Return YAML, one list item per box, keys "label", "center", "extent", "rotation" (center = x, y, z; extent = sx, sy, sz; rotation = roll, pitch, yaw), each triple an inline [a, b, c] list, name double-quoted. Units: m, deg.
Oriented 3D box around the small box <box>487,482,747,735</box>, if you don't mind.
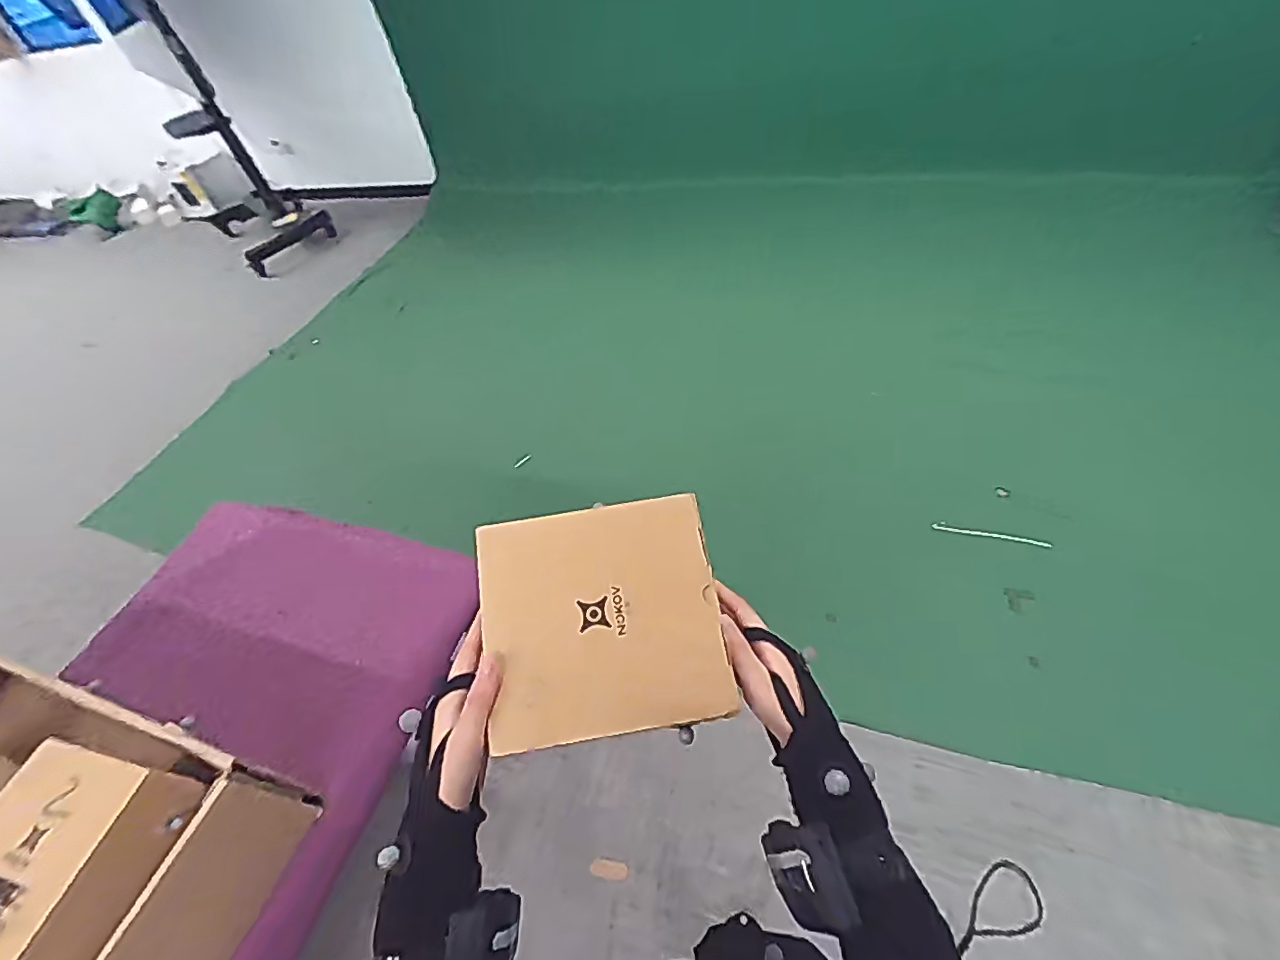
- label: "small box"
  center: [-0.021, 0.118, 0.468]
  extent: [0.179, 0.176, 0.168]
  rotation: [-9, 68, -3]
